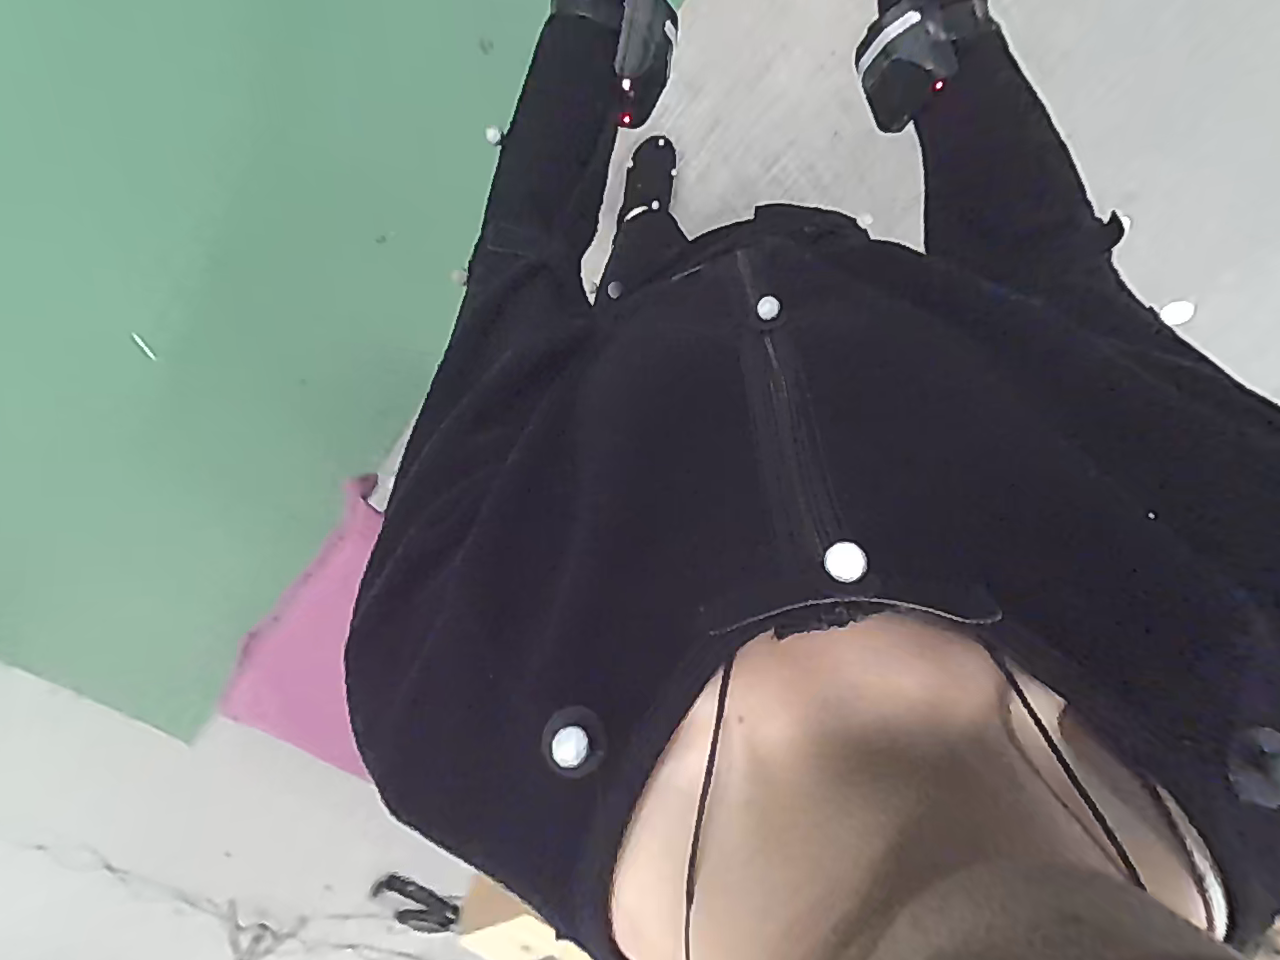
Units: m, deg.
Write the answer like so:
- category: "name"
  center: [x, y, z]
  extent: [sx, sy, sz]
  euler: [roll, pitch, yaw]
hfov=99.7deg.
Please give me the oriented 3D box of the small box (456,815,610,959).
- category: "small box"
  center: [-0.167, 0.709, 0.914]
  extent: [0.168, 0.176, 0.179]
  euler: [-33, 111, 19]
